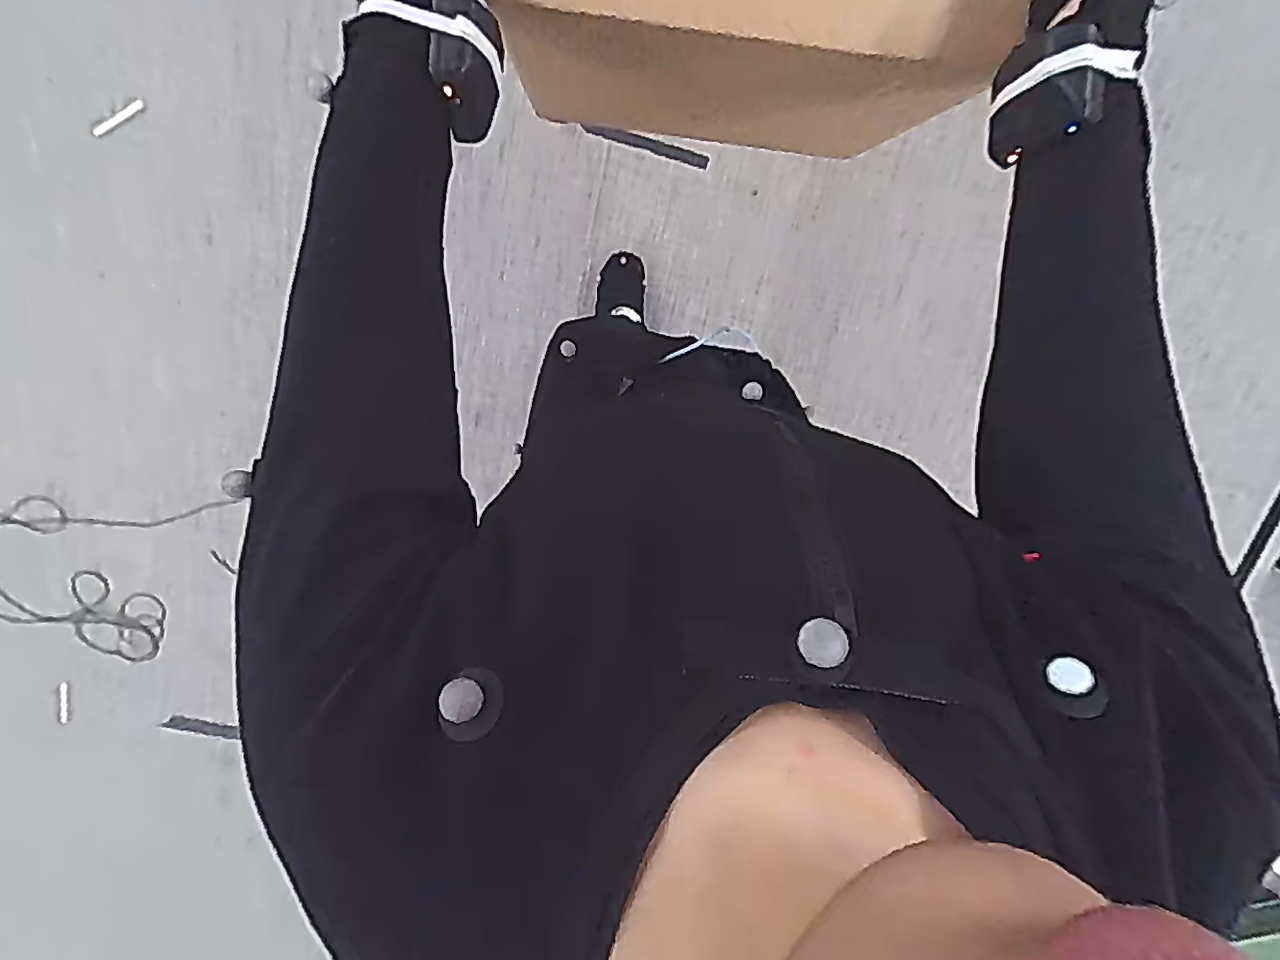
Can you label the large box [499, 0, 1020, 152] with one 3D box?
[{"bbox_3d":[0.092,-0.530,0.495,0.408,0.320,0.320,5,110,-5],"label":"large box"}]
